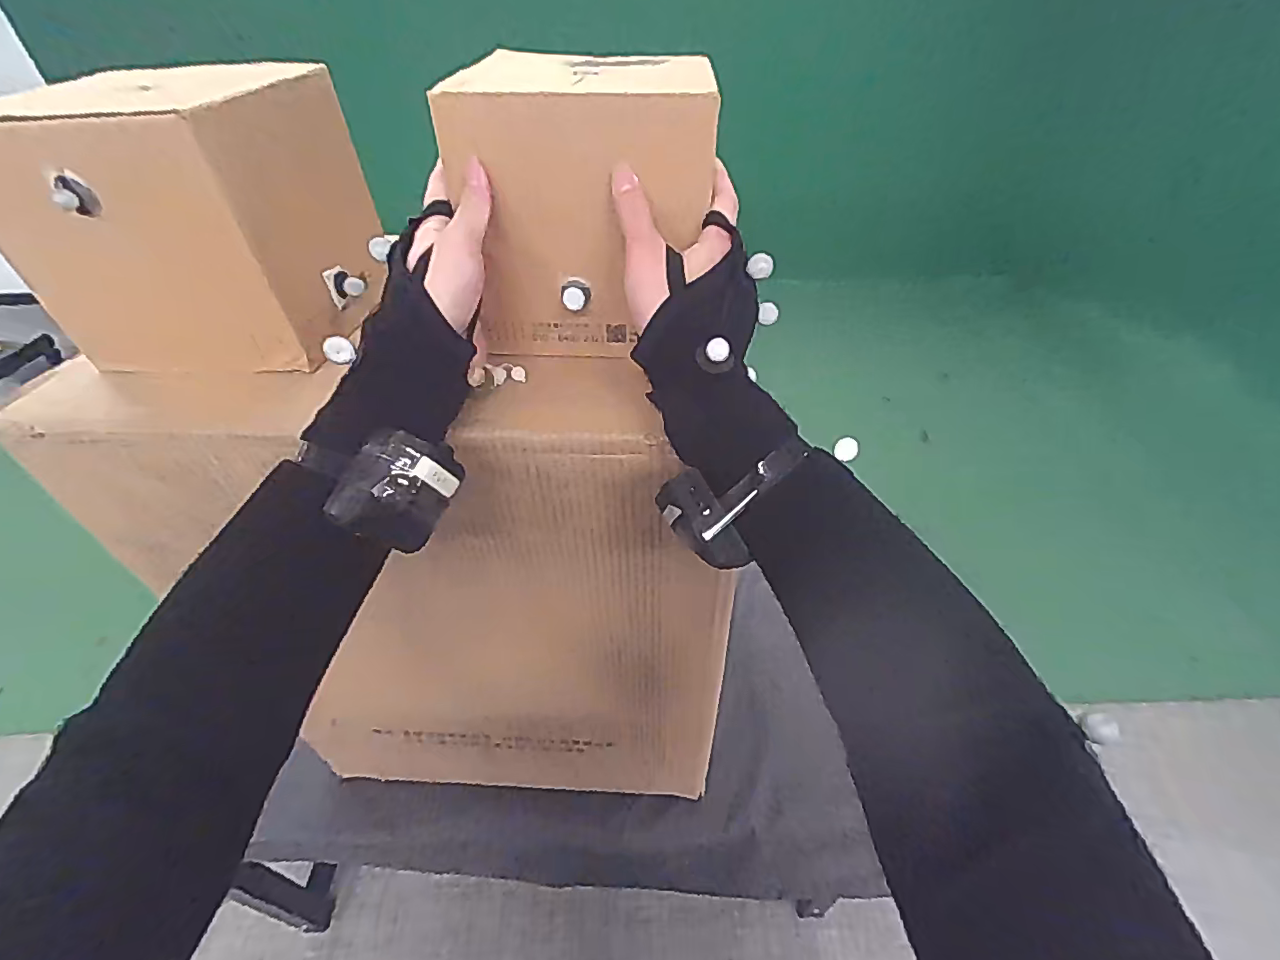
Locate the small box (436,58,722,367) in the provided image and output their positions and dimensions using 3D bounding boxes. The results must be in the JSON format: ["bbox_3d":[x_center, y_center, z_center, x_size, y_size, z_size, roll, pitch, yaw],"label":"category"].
[{"bbox_3d":[-0.031,-0.207,0.416,0.168,0.176,0.179,2,44,2],"label":"small box"}]

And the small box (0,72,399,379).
[{"bbox_3d":[-0.317,-0.190,0.407,0.179,0.176,0.168,2,45,3],"label":"small box"}]
